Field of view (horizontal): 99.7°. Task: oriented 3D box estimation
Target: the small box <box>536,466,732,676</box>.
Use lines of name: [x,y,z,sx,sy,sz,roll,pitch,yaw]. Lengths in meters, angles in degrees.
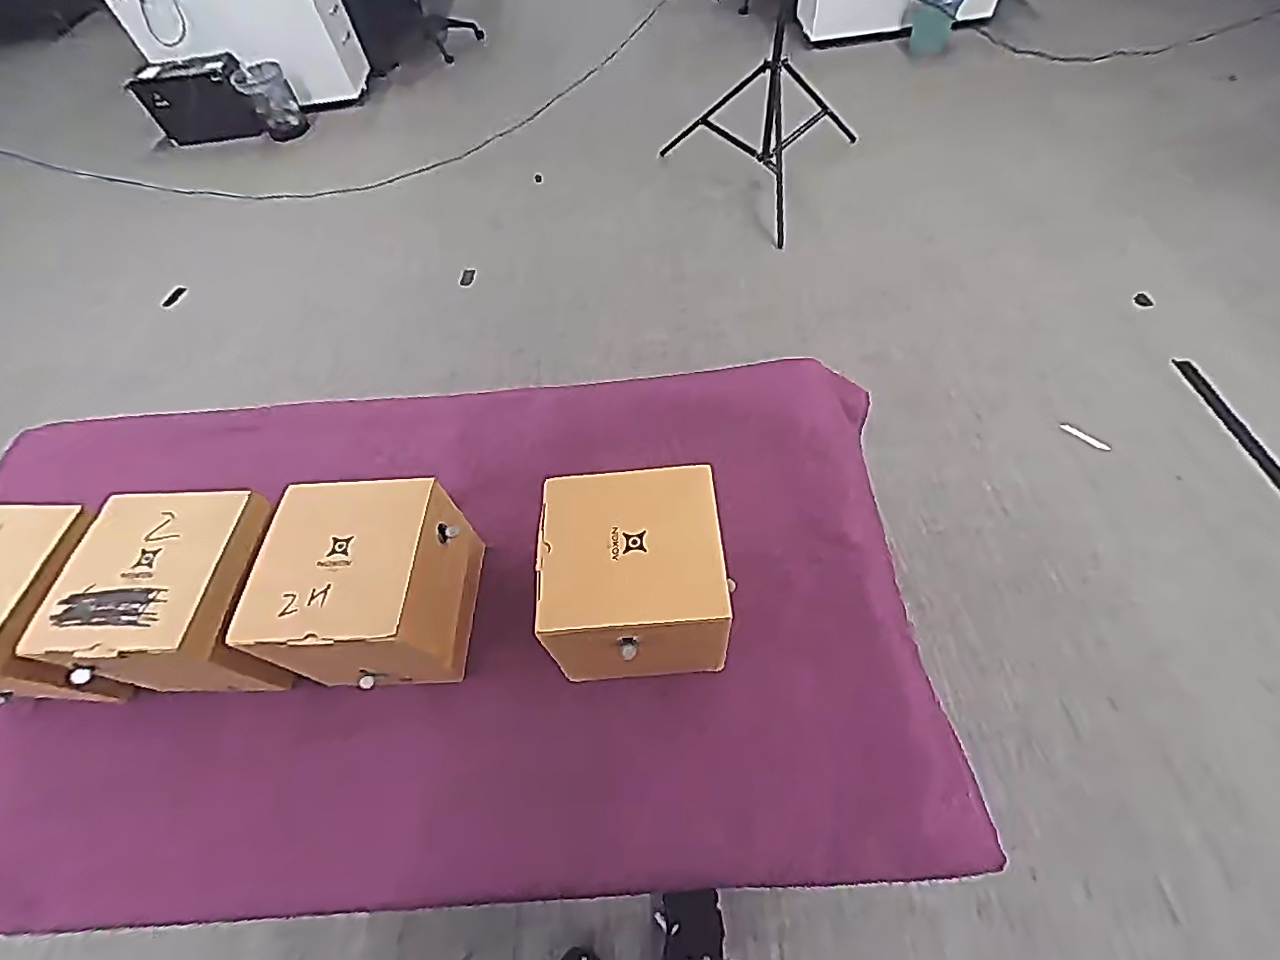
small box: [-0.003,0.104,0.582,0.179,0.176,0.168,-6,56,3]
